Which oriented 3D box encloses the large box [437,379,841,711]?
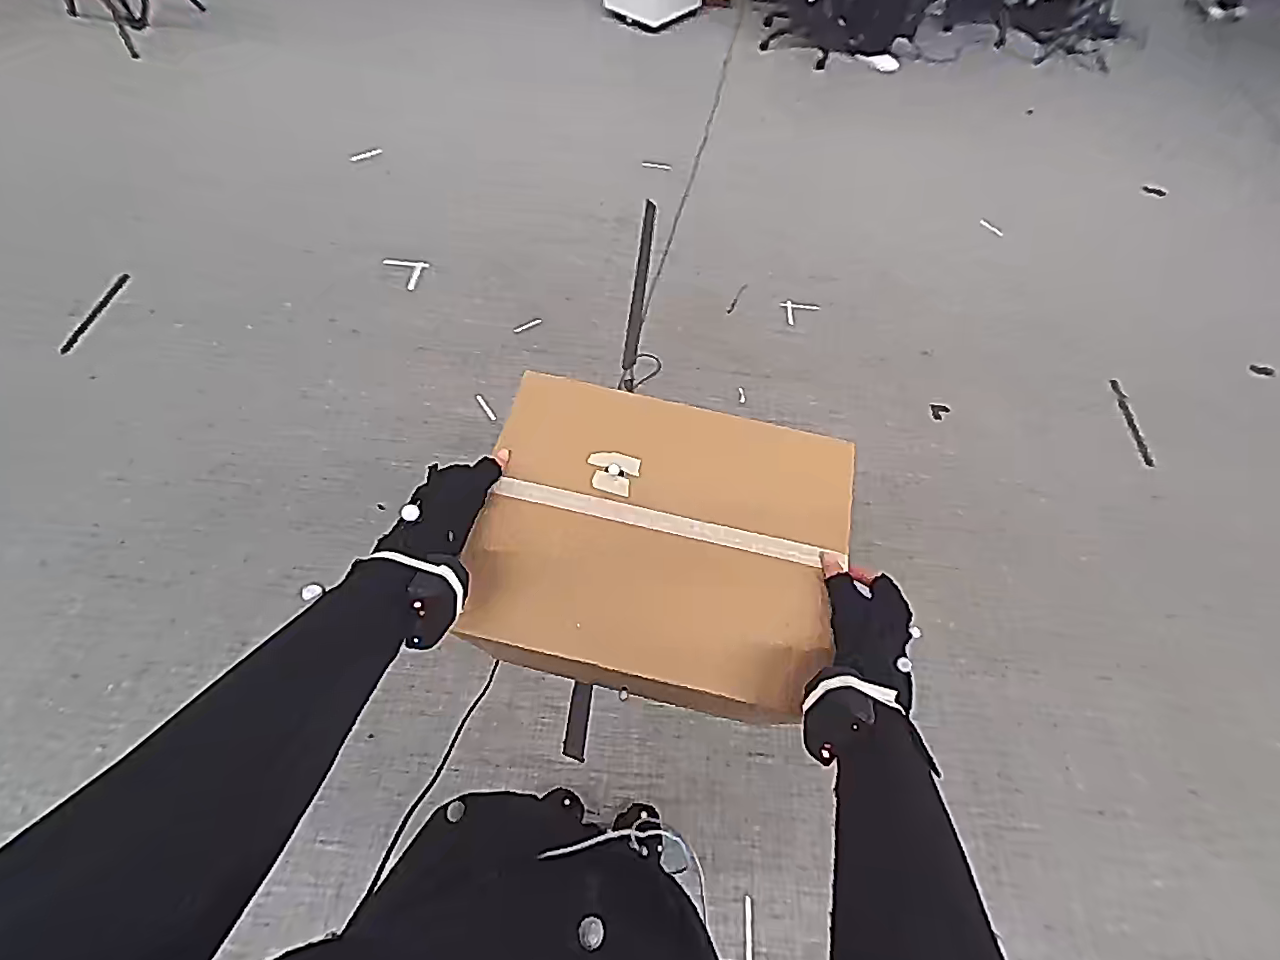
[{"bbox_3d":[0.014,0.109,0.731,0.408,0.320,0.320,12,65,4],"label":"large box"}]
